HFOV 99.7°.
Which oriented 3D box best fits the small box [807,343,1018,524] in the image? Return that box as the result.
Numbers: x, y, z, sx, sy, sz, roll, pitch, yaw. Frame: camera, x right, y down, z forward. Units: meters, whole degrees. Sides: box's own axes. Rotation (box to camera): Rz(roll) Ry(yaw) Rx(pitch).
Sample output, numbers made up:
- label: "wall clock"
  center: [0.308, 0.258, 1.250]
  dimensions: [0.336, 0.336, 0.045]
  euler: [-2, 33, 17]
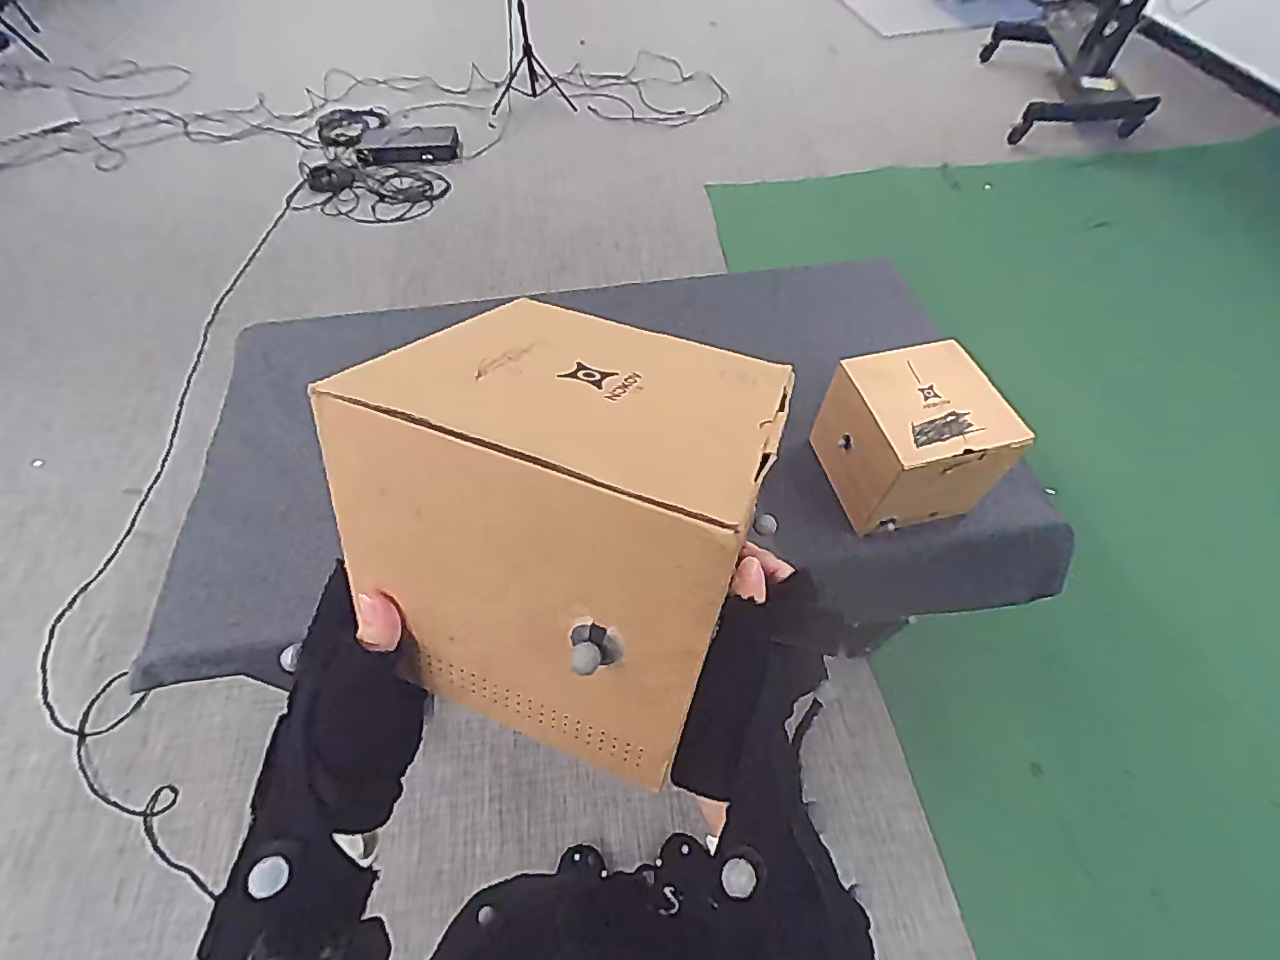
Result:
- label: "small box"
  center: [0.349, -0.054, 0.736]
  dimensions: [0.168, 0.176, 0.179]
  euler: [-11, 57, -6]

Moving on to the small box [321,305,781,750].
- label: "small box"
  center: [-0.035, 0.019, 0.310]
  dimensions: [0.179, 0.176, 0.168]
  euler: [16, 33, 11]
